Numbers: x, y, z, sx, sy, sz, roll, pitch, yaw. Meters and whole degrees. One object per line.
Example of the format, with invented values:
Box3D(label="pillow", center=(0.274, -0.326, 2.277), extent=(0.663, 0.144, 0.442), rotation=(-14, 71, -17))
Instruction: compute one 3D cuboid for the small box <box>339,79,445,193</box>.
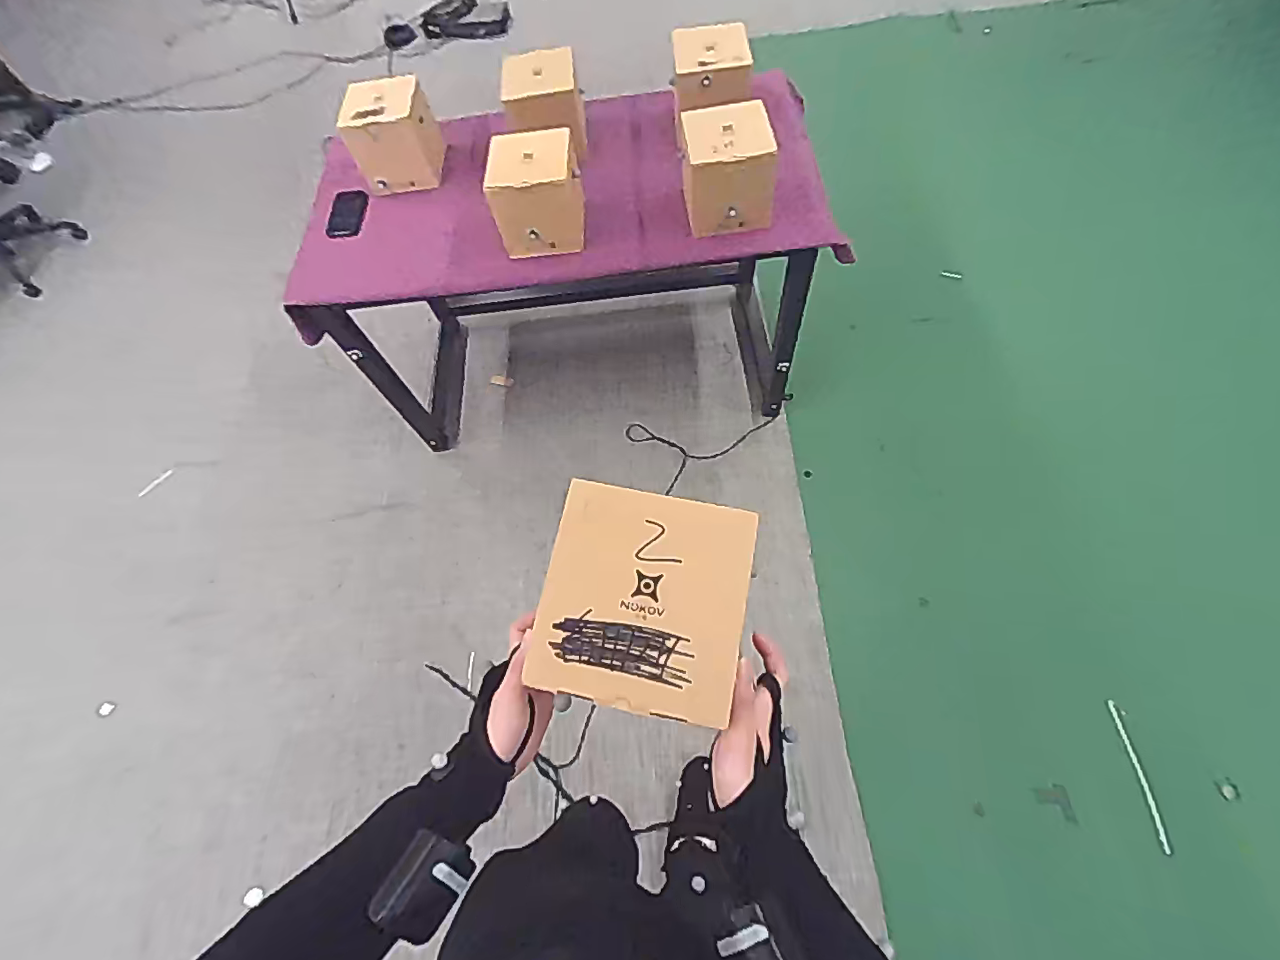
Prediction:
Box3D(label="small box", center=(-0.584, -0.815, 1.298), extent=(0.168, 0.176, 0.179), rotation=(-6, 62, 3))

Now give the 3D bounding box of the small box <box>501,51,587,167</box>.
Box3D(label="small box", center=(-0.223, -0.875, 1.291), extent=(0.168, 0.176, 0.179), rotation=(-6, 64, 4))

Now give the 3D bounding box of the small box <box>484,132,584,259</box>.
Box3D(label="small box", center=(-0.216, -0.601, 1.151), extent=(0.168, 0.176, 0.179), rotation=(-4, 62, 4))

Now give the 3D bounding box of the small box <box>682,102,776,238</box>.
Box3D(label="small box", center=(0.178, -0.637, 1.122), extent=(0.168, 0.176, 0.179), rotation=(-7, 63, 4))

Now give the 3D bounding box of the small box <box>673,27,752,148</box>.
Box3D(label="small box", center=(0.164, -0.911, 1.266), extent=(0.168, 0.176, 0.179), rotation=(-5, 63, 5))
